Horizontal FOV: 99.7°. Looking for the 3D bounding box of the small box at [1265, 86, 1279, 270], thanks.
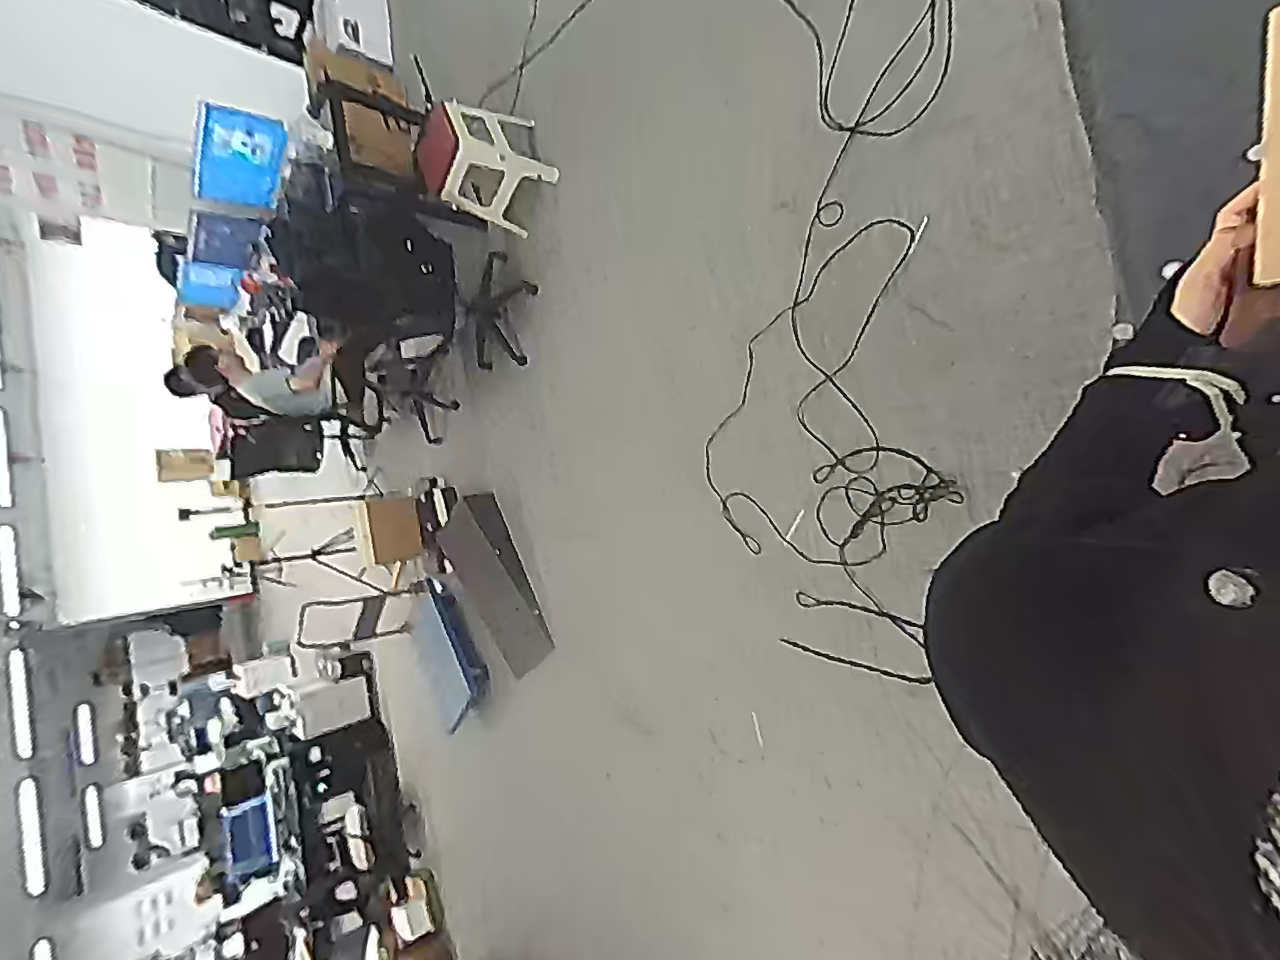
[{"bbox_3d":[0.523,-0.230,0.320,0.168,0.176,0.179,9,108,61],"label":"small box"}]
